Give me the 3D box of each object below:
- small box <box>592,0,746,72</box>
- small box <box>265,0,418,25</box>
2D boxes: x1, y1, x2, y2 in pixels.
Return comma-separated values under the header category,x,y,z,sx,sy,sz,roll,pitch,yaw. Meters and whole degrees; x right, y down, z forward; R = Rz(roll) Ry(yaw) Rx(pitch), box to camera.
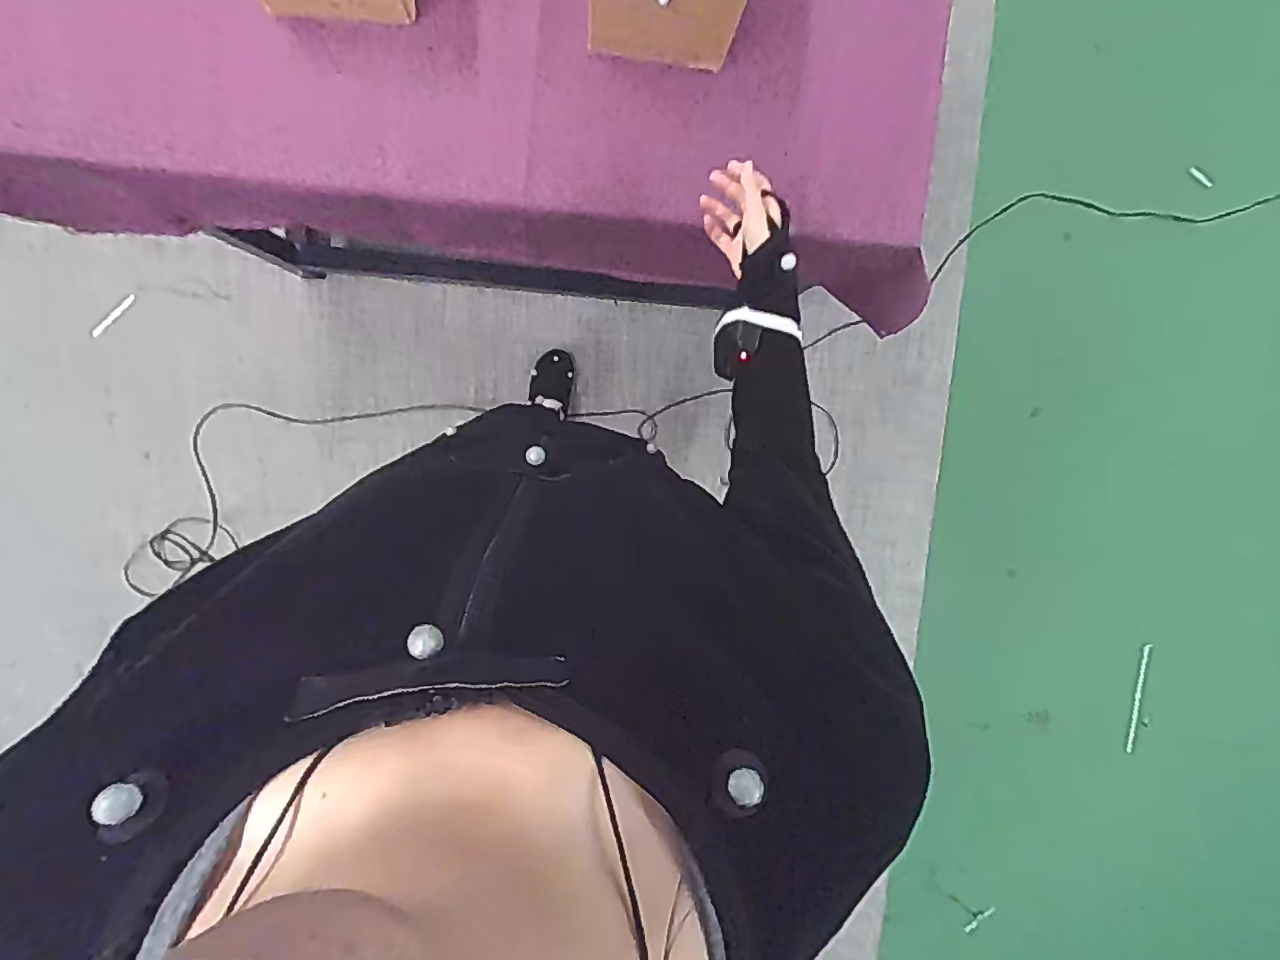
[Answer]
category,x,y,z,sx,sy,sz,roll,pitch,yaw
small box,0.038,-0.610,0.617,0.179,0.176,0.168,5,97,-7
small box,-0.356,-0.635,0.579,0.179,0.176,0.168,-1,97,-6
